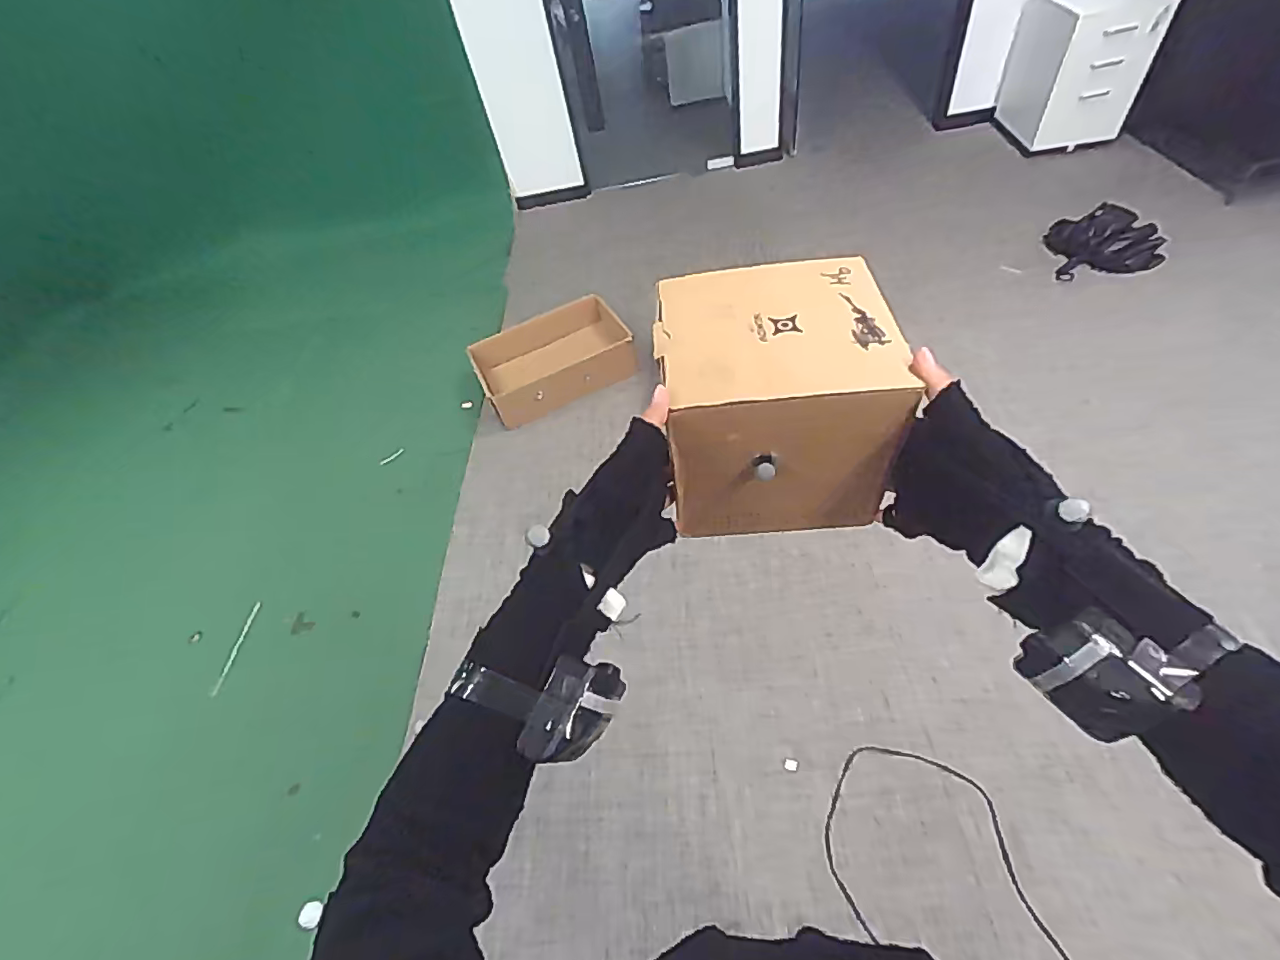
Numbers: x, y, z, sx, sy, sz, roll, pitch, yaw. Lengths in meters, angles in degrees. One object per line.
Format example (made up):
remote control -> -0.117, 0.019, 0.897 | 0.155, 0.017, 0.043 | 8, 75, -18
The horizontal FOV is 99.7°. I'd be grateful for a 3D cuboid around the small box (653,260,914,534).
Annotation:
small box -> 0.109, -0.065, 0.477 | 0.179, 0.176, 0.168 | -5, 51, 6
